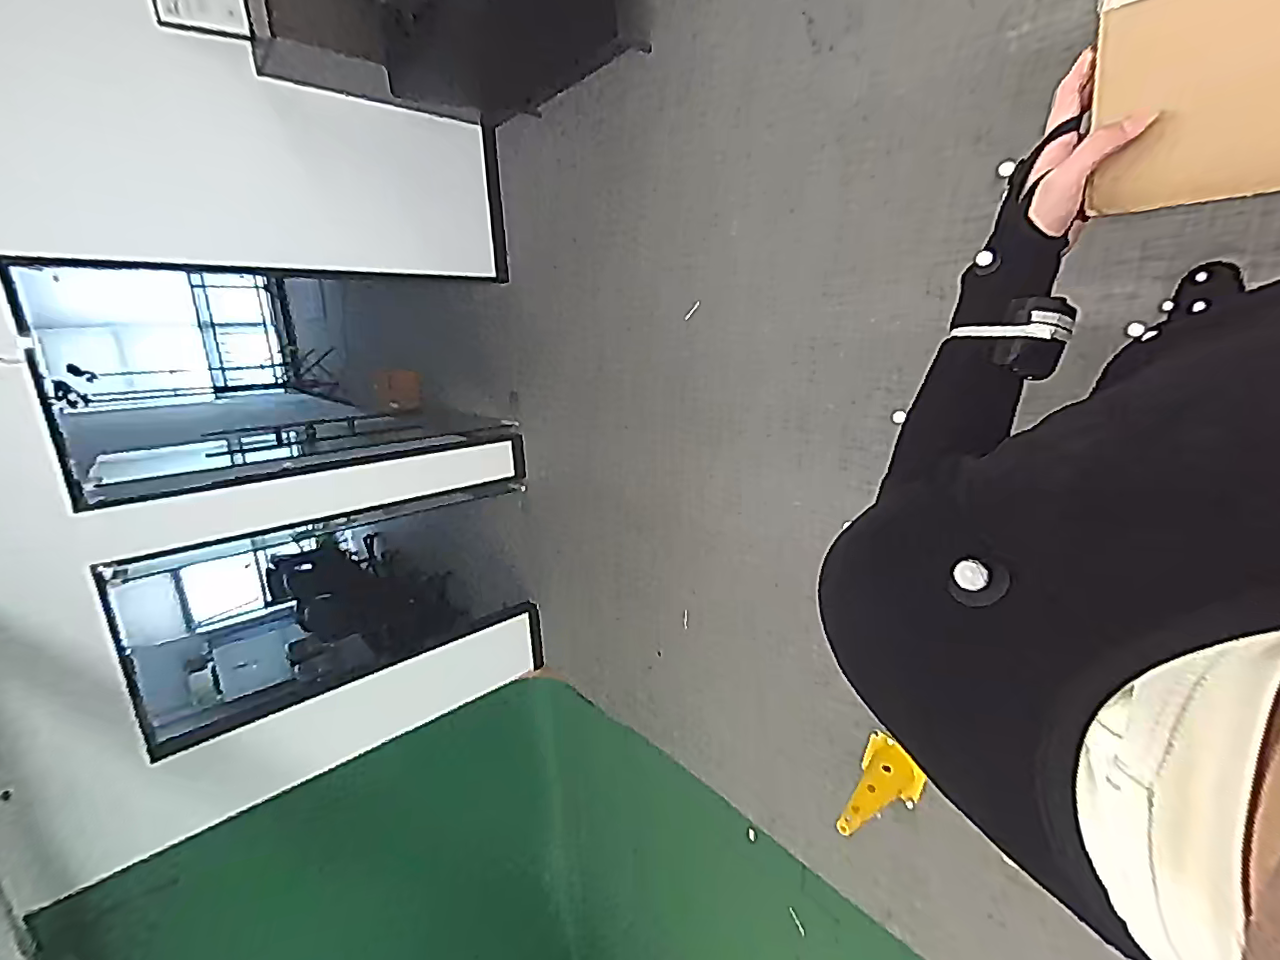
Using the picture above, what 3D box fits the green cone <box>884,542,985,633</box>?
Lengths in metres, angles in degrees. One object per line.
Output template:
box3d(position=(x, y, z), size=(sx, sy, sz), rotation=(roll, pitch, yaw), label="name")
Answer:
box3d(position=(0.793, 0.341, 1.536), size=(0.200, 0.368, 0.202), rotation=(22, 119, 45), label="green cone")
